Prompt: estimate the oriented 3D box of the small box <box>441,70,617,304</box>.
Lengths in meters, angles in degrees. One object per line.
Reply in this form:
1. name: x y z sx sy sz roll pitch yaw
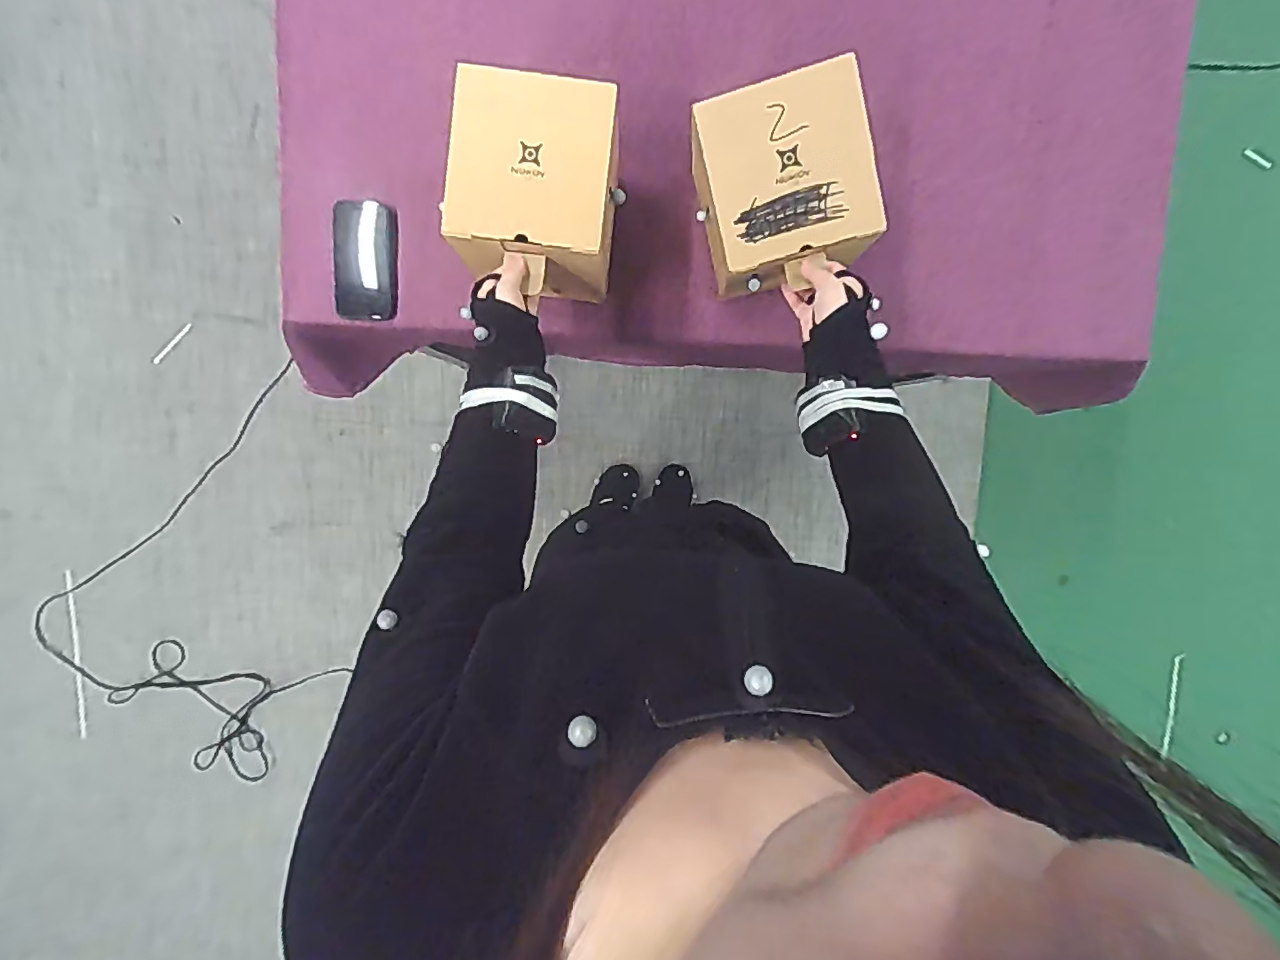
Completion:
1. small box: -0.119 -0.328 0.640 0.168 0.176 0.179 6 92 -2
